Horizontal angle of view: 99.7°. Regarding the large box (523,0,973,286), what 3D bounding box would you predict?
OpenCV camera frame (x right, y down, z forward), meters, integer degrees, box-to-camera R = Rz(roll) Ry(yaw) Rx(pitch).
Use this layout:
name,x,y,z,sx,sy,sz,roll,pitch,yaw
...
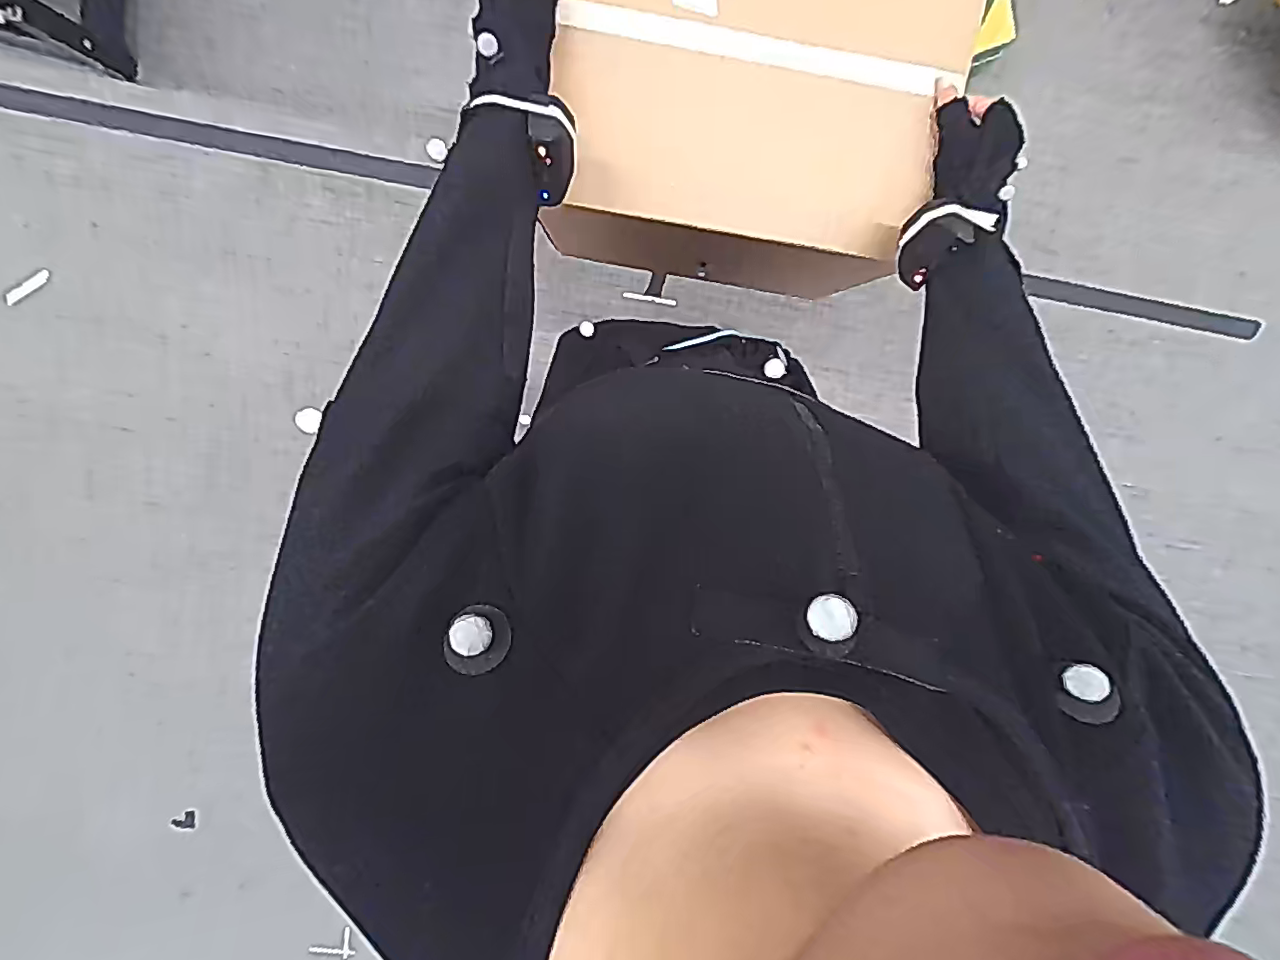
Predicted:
name,x,y,z,sx,sy,sz,roll,pitch,yaw
large box,0.102,-0.438,0.654,0.408,0.320,0.320,9,102,-3
